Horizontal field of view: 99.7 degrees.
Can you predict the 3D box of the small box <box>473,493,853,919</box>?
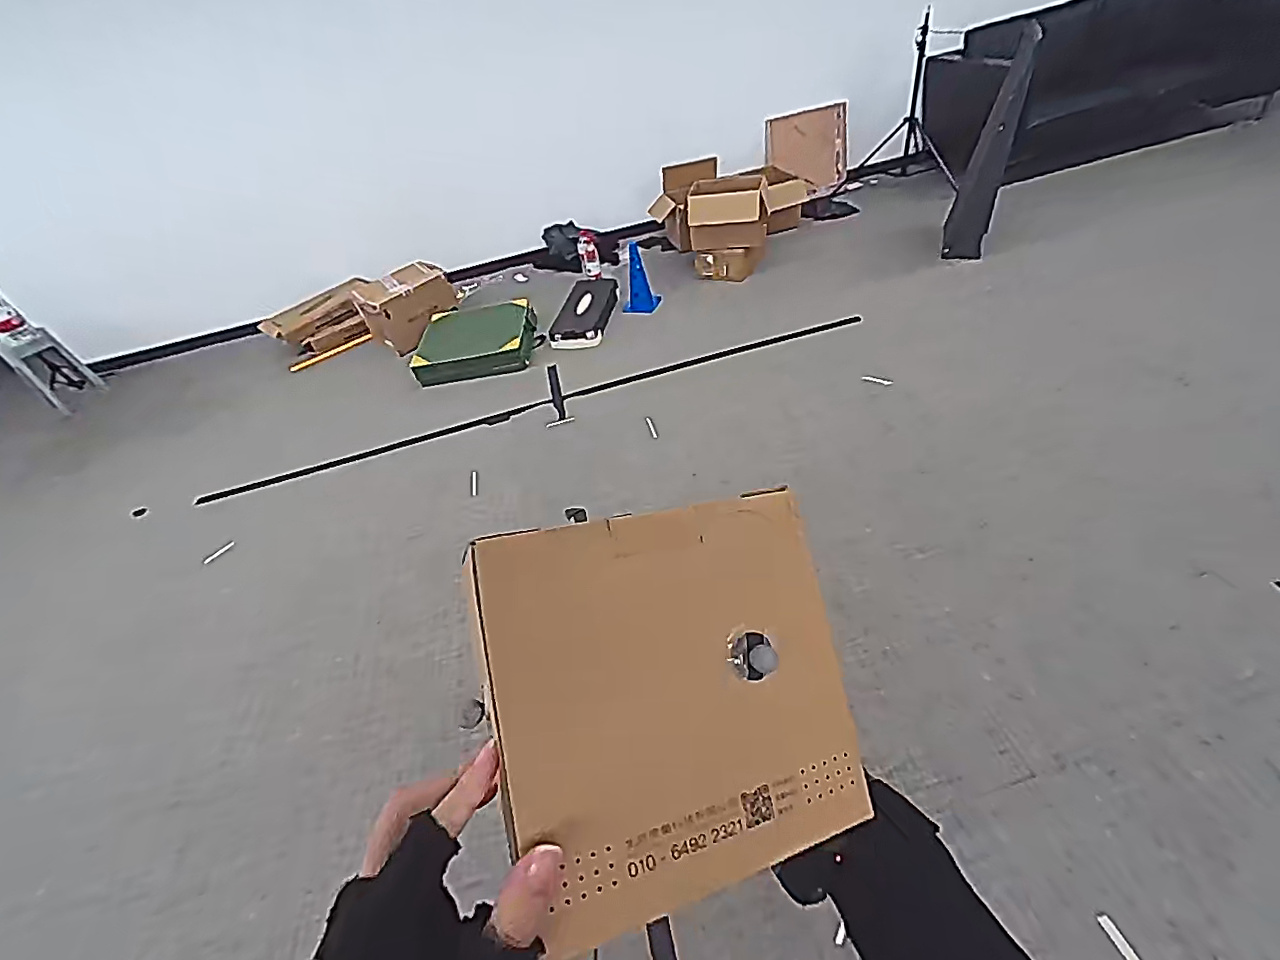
[{"bbox_3d":[-0.004,0.114,0.324,0.168,0.179,0.176,-8,81,-19],"label":"small box"}]
